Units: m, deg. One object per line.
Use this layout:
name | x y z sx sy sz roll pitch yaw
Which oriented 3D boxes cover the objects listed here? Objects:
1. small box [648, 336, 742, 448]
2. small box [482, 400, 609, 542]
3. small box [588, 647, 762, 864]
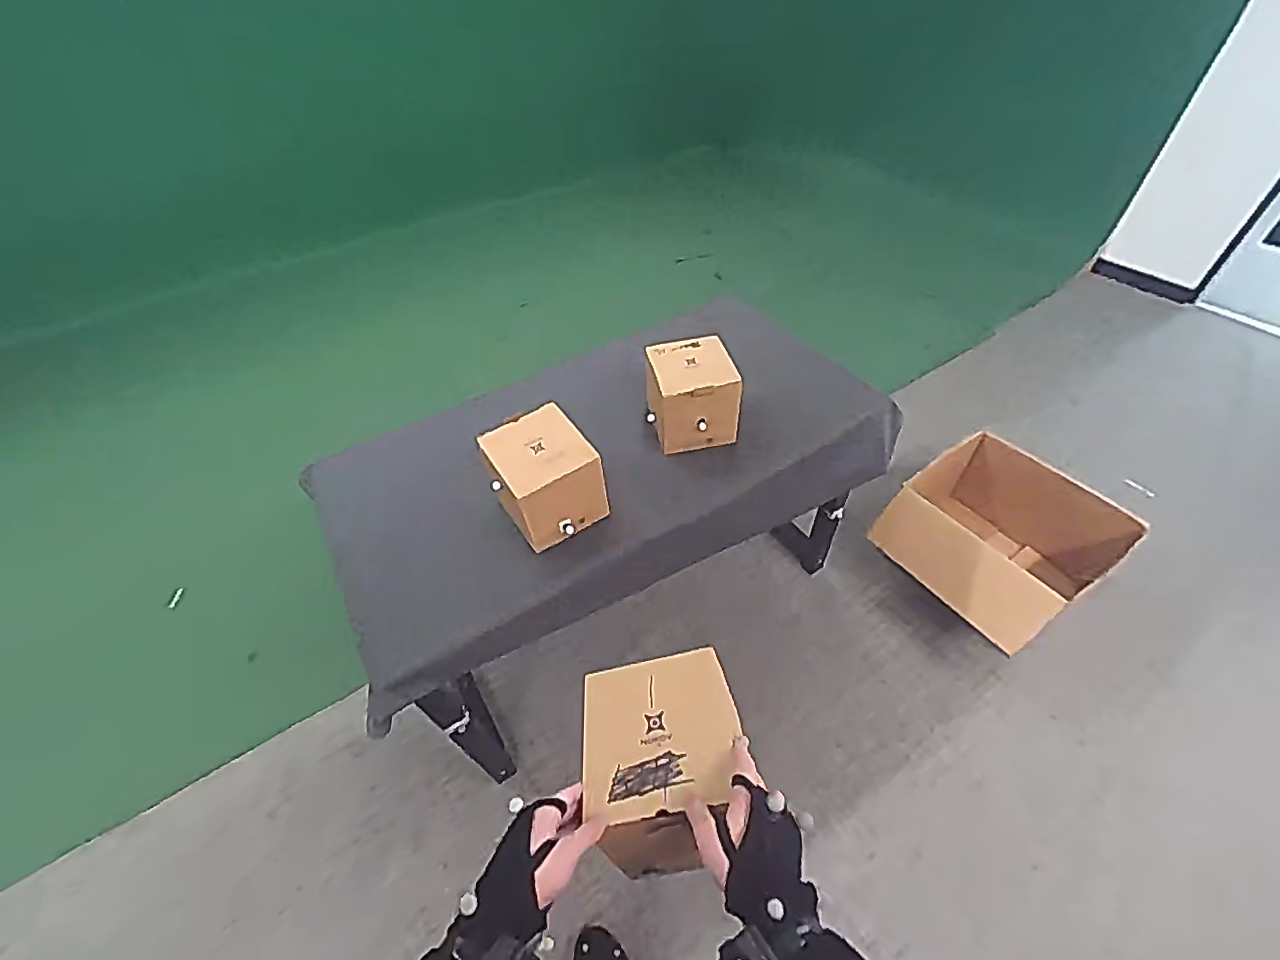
small box | 0.116 -0.186 1.185 0.168 0.176 0.179 -10 49 -6
small box | -0.175 -0.016 1.029 0.168 0.176 0.179 -29 53 -21
small box | 0.042 0.336 0.650 0.168 0.176 0.179 -14 38 7
